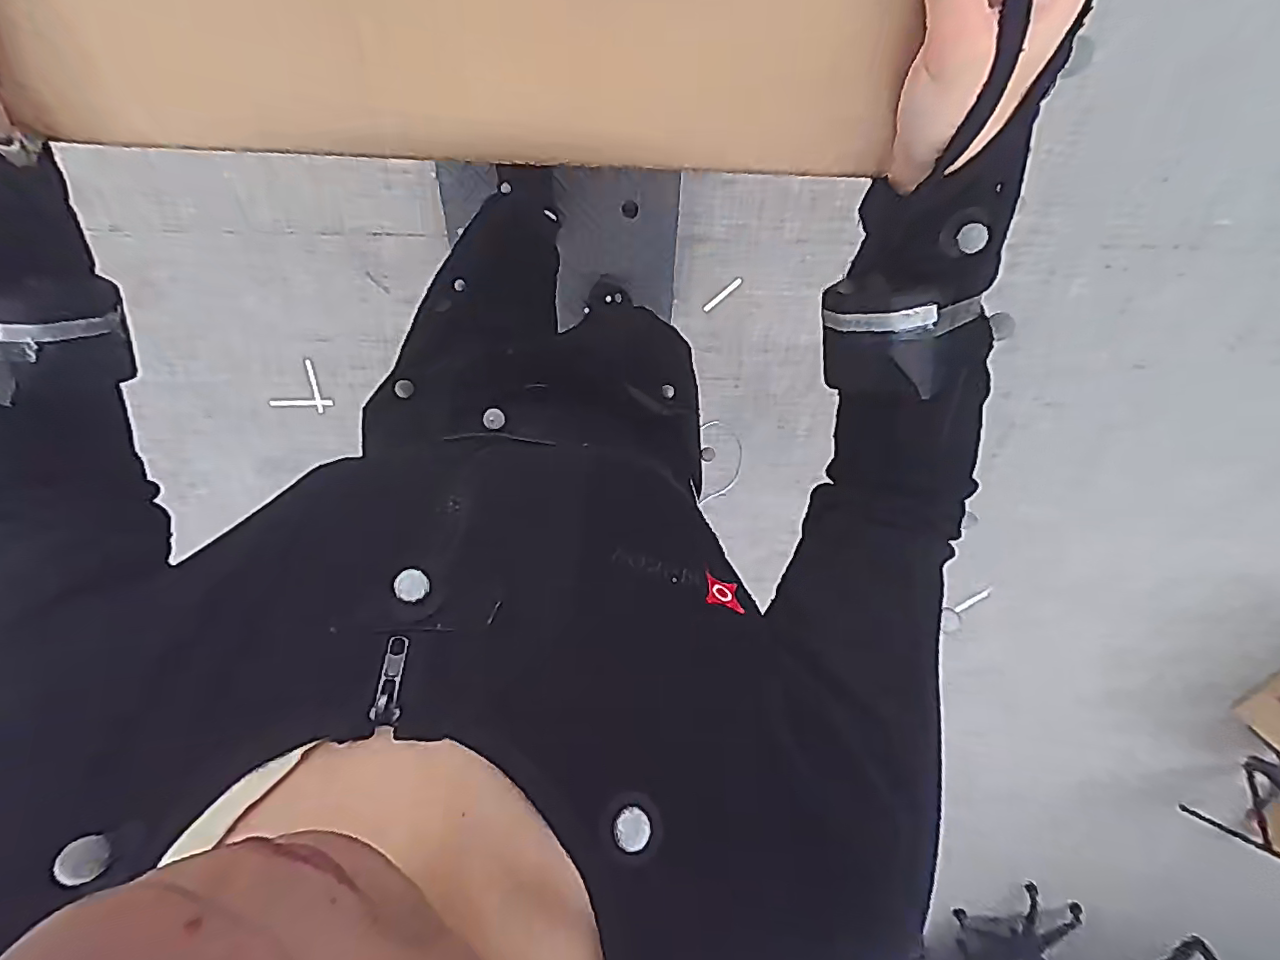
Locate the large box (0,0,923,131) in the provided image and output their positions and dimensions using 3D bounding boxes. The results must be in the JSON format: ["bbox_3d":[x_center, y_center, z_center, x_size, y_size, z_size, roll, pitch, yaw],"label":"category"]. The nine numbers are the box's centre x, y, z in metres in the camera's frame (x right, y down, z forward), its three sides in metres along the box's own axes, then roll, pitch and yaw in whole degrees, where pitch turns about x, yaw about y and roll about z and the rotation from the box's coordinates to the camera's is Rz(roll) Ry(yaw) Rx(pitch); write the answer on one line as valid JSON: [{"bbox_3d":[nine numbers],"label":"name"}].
[{"bbox_3d":[-0.079,-0.383,0.253,0.408,0.320,0.320,1,136,-3],"label":"large box"}]
